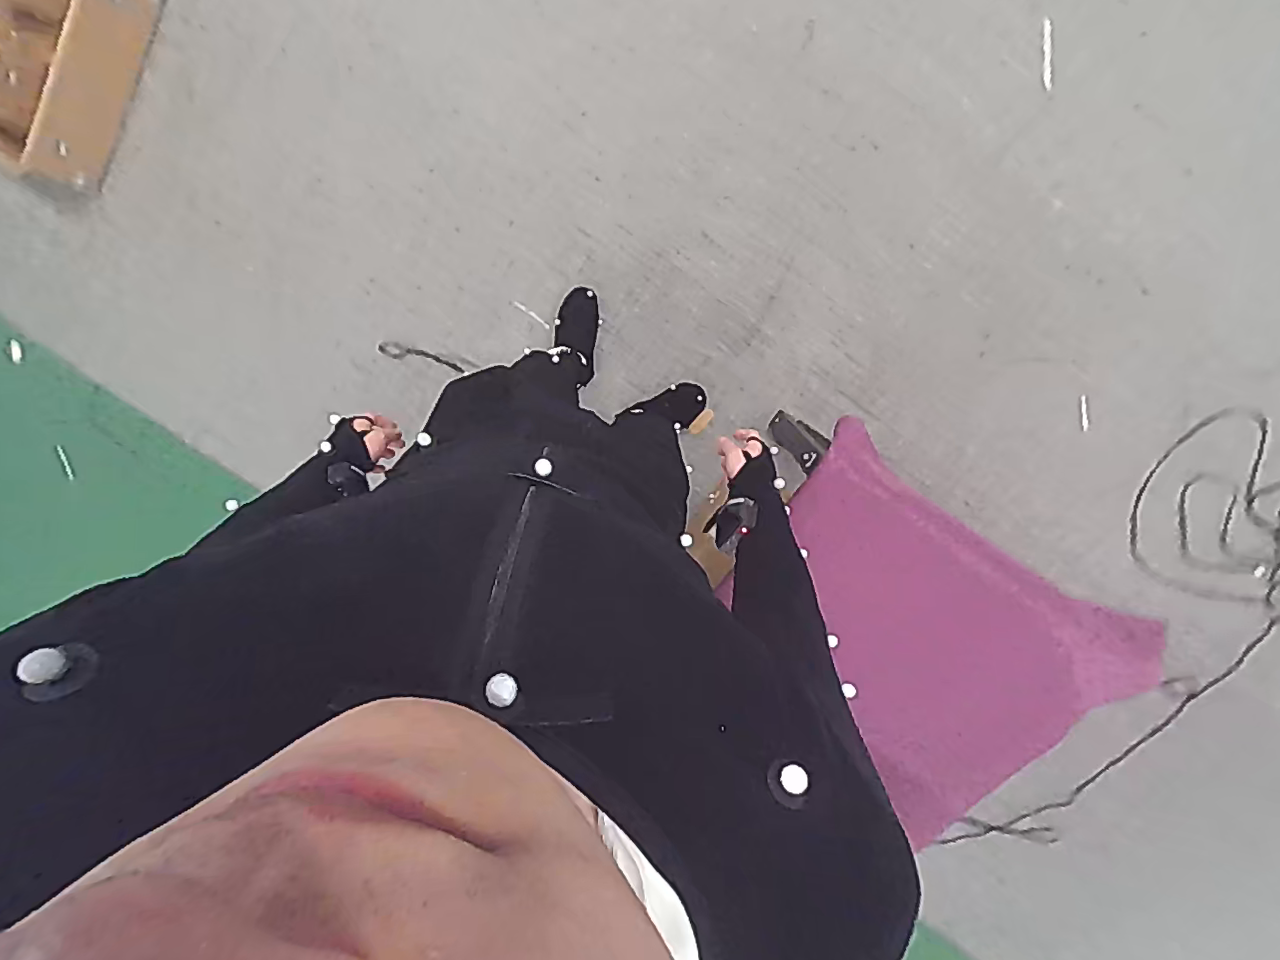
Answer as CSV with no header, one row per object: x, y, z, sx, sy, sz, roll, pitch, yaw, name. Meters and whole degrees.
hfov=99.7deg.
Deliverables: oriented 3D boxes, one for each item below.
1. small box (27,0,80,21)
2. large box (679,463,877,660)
-1.489,-1.269,1.291,0.168,0.176,0.179,32,107,-4,small box
0.356,0.210,1.513,0.408,0.320,0.320,35,107,-6,large box
